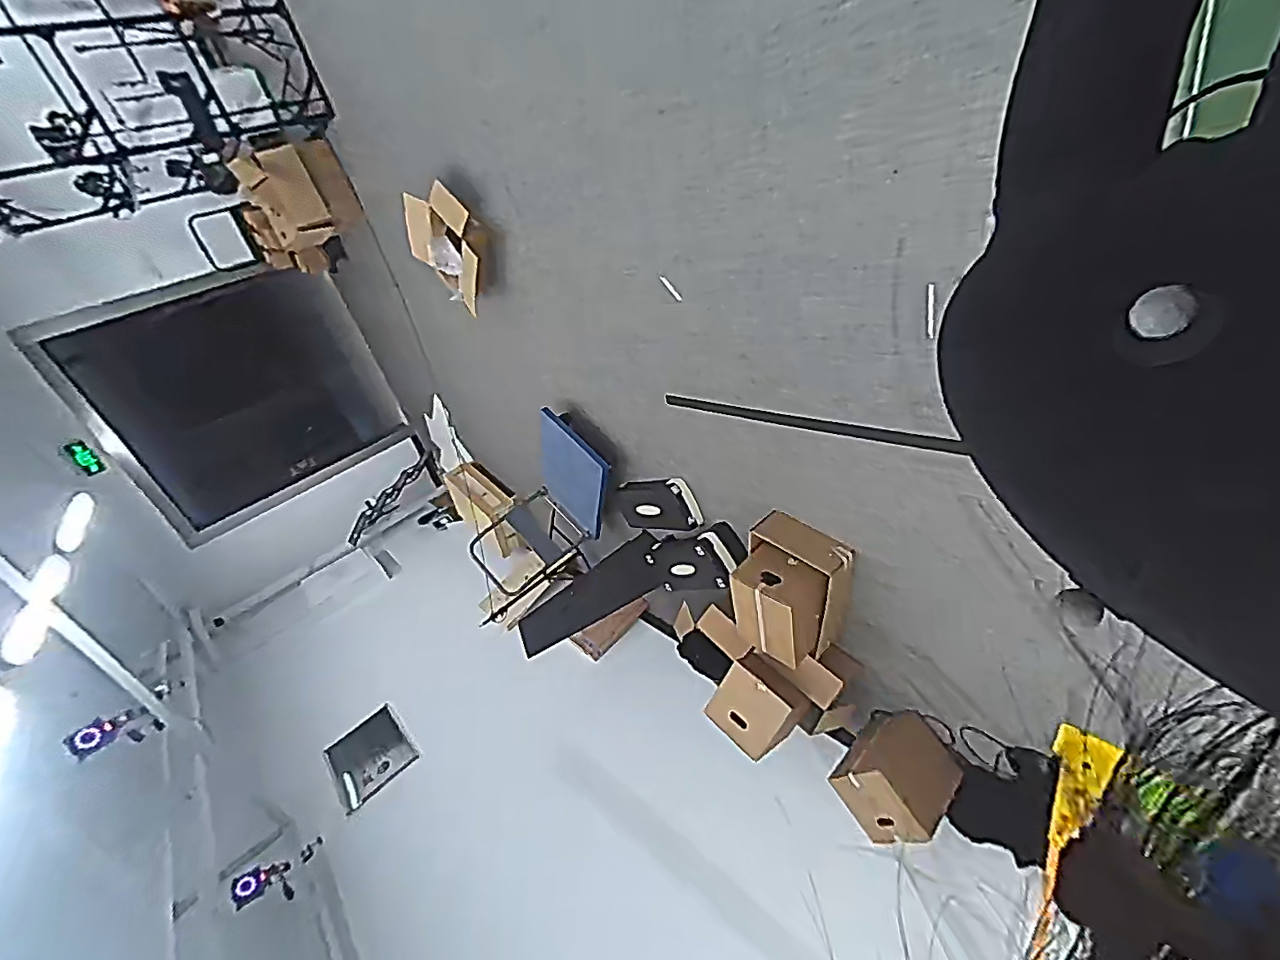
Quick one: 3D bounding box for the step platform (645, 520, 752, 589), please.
[{"bbox_3d":[0.295,0.430,2.978,0.286,0.204,0.684,56,150,-4],"label":"step platform"}]
